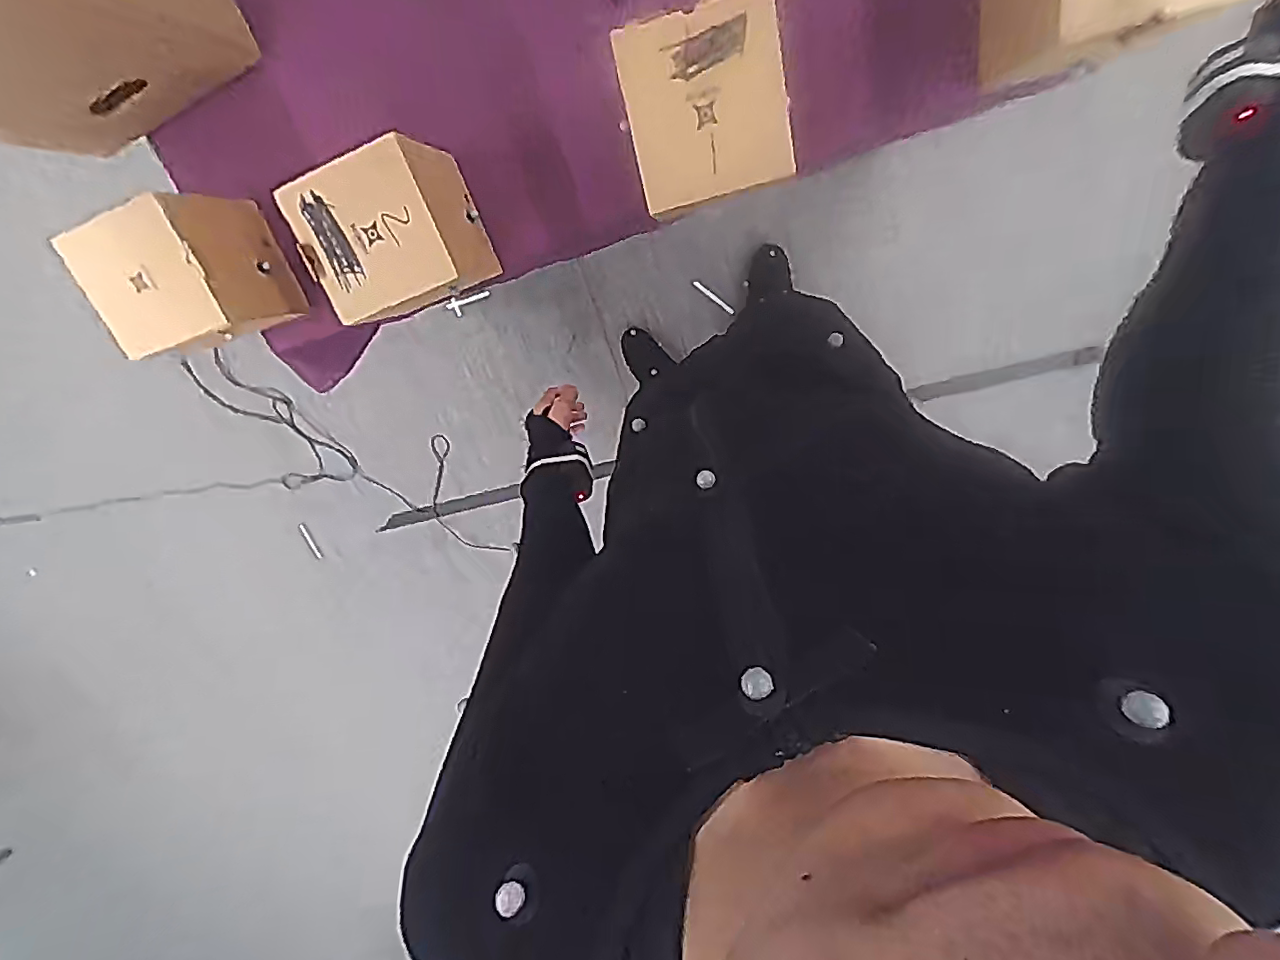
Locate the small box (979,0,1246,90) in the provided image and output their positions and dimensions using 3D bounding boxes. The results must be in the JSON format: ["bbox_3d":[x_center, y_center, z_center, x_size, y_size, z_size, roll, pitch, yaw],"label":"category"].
[{"bbox_3d":[0.467,-0.534,0.545,0.168,0.176,0.179,-8,112,11],"label":"small box"}]

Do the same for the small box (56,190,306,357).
[{"bbox_3d":[-0.635,-0.290,0.774,0.179,0.176,0.168,-15,111,11],"label":"small box"}]

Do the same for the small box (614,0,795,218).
[{"bbox_3d":[0.077,-0.425,0.638,0.168,0.176,0.179,-10,112,11],"label":"small box"}]
